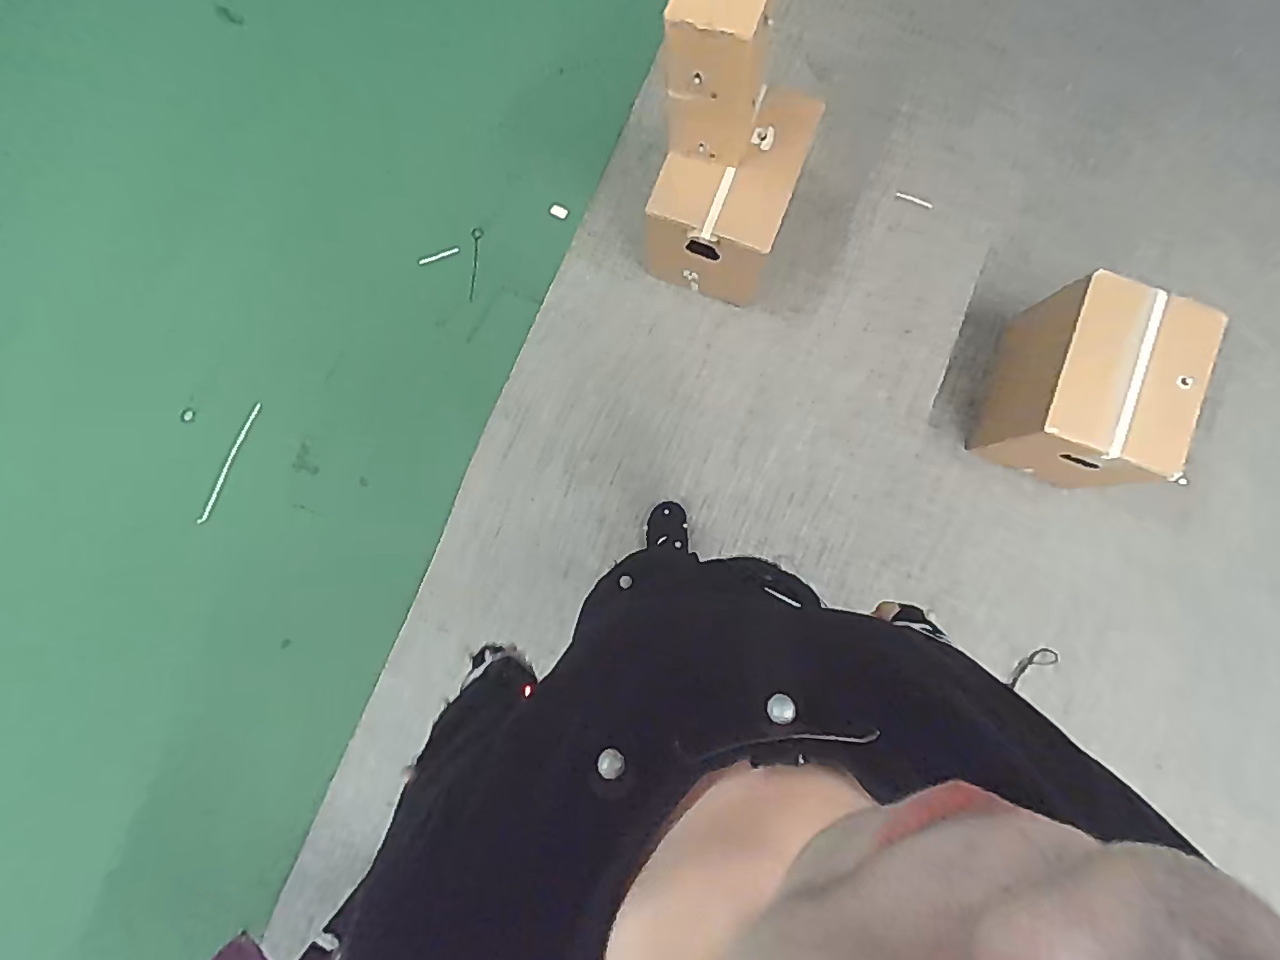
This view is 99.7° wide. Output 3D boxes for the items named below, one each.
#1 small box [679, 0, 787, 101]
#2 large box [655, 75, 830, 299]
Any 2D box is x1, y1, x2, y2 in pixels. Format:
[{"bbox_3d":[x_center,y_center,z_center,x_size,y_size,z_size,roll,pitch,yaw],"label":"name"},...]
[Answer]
[{"bbox_3d":[0.179,-0.888,1.038,0.168,0.176,0.179,22,87,7],"label":"small box"},{"bbox_3d":[0.252,-0.766,1.434,0.320,0.320,0.408,22,85,4],"label":"large box"}]
